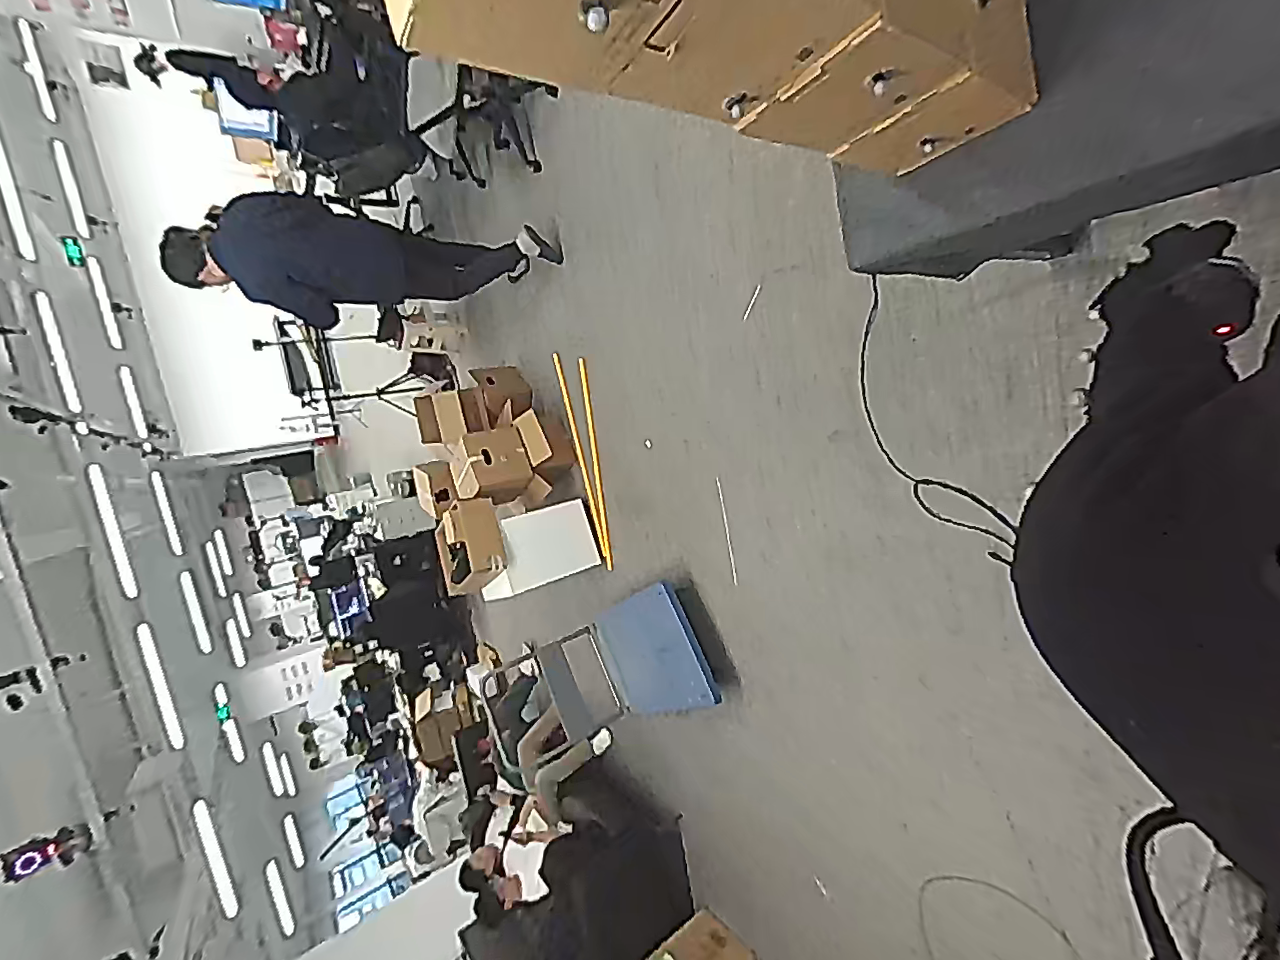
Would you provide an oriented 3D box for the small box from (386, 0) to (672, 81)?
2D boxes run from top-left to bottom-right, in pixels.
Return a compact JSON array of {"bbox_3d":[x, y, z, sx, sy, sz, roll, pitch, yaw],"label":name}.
[{"bbox_3d":[-0.069,-0.403,0.342,0.168,0.176,0.179,-7,98,54],"label":"small box"}]

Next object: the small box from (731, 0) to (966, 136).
[{"bbox_3d":[0.193,-0.467,0.529,0.168,0.176,0.179,-2,101,54],"label":"small box"}]

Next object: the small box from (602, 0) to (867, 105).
[{"bbox_3d":[0.062,-0.439,0.435,0.168,0.176,0.179,-5,98,54],"label":"small box"}]

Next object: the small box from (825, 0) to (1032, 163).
[{"bbox_3d":[0.322,-0.499,0.624,0.168,0.176,0.179,-4,100,55],"label":"small box"}]
